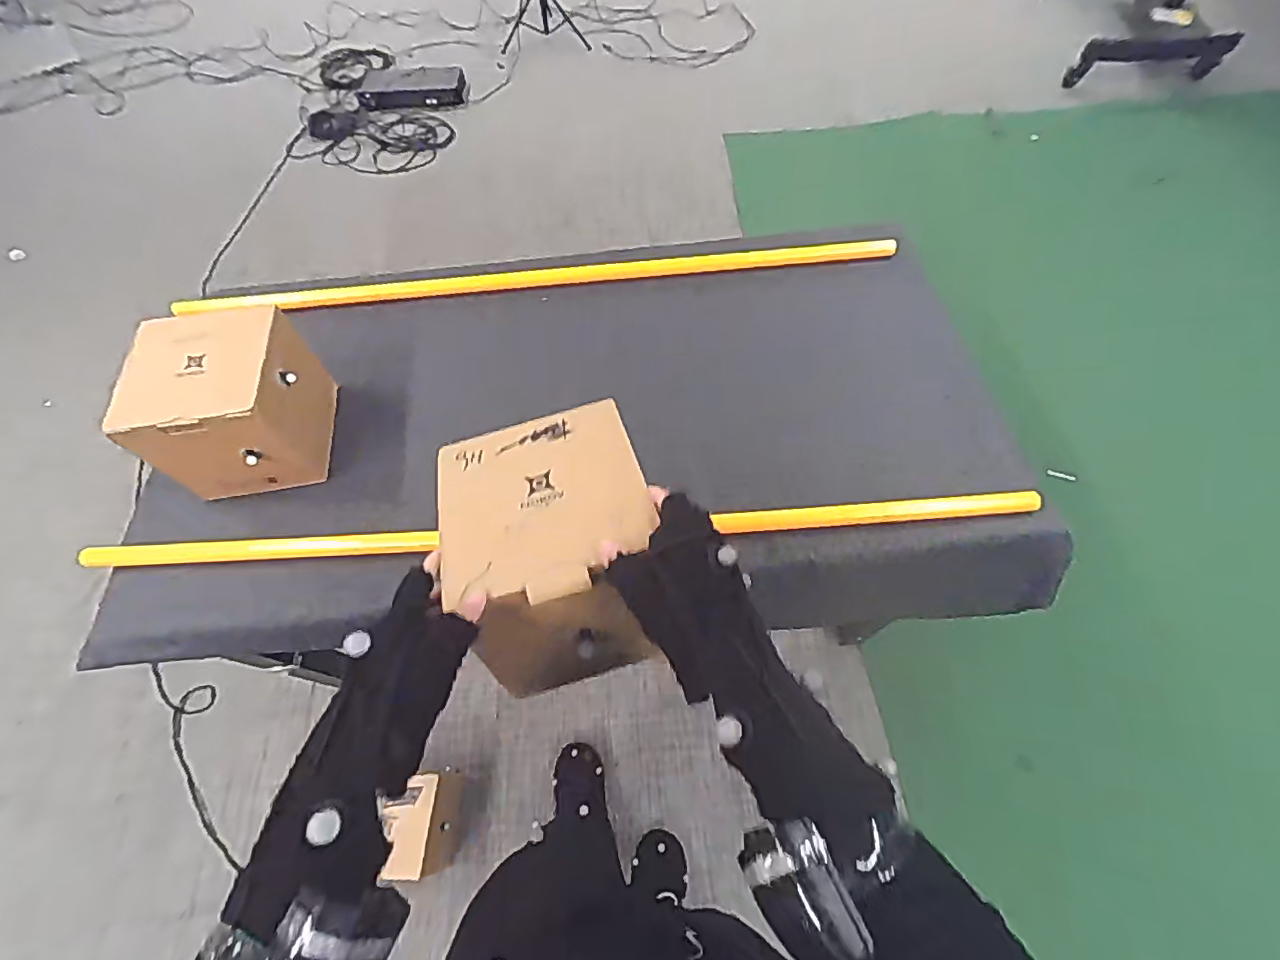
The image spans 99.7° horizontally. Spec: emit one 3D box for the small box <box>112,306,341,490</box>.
[{"bbox_3d":[-0.526,-0.099,0.721,0.168,0.176,0.179,-9,60,-5],"label":"small box"}]

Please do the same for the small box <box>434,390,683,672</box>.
[{"bbox_3d":[-0.069,0.054,0.498,0.168,0.176,0.179,-20,49,-5],"label":"small box"}]

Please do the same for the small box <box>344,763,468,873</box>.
[{"bbox_3d":[-0.471,0.692,1.122,0.168,0.176,0.179,1,63,3],"label":"small box"}]
